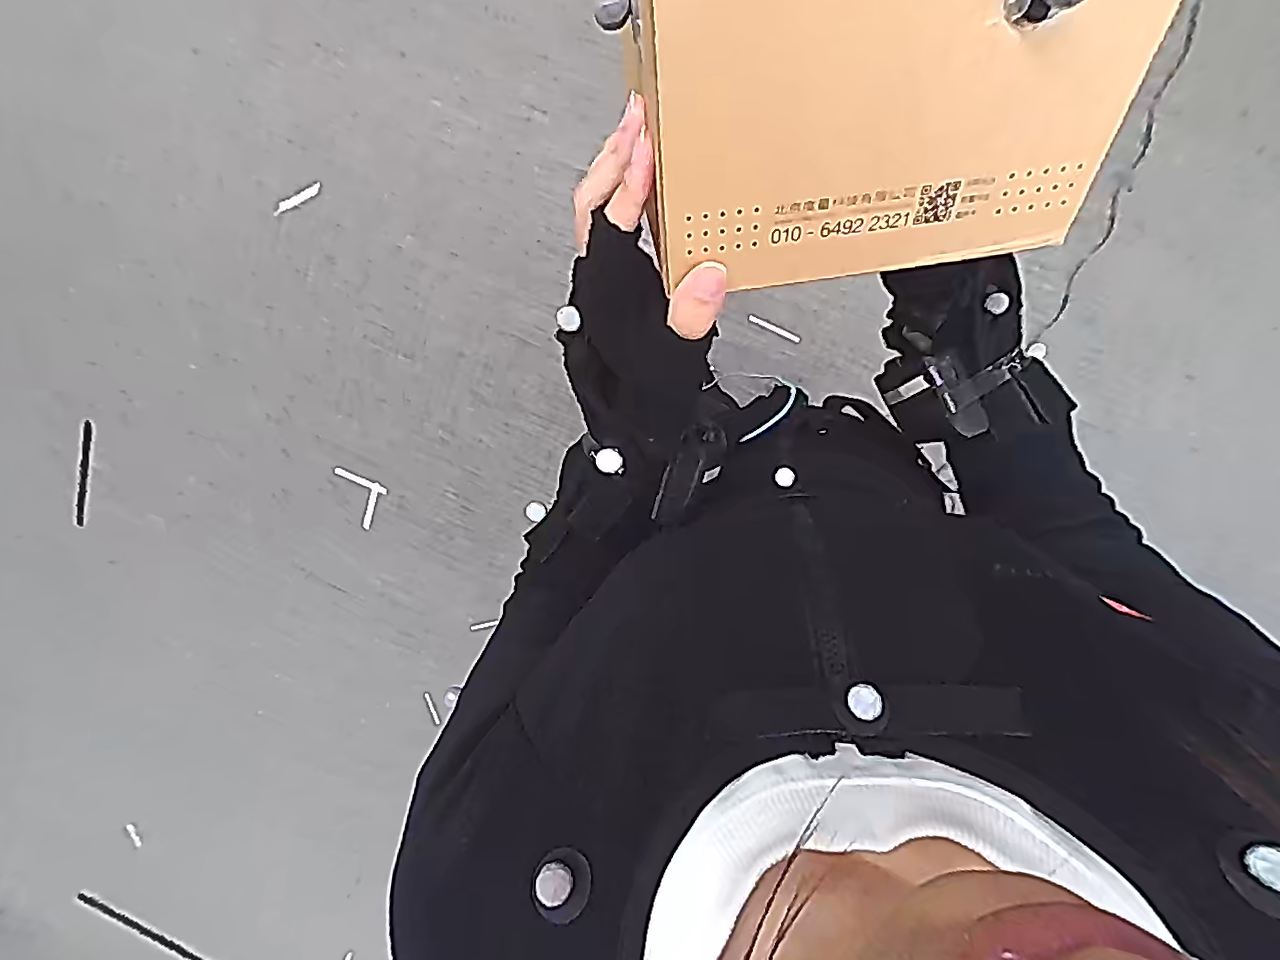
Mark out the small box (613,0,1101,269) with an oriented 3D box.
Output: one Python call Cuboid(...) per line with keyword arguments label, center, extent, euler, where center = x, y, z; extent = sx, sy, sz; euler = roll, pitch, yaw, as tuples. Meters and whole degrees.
Cuboid(label="small box", center=(0.074, -0.209, 0.241), extent=(0.168, 0.179, 0.176), euler=(-8, 138, 0))
